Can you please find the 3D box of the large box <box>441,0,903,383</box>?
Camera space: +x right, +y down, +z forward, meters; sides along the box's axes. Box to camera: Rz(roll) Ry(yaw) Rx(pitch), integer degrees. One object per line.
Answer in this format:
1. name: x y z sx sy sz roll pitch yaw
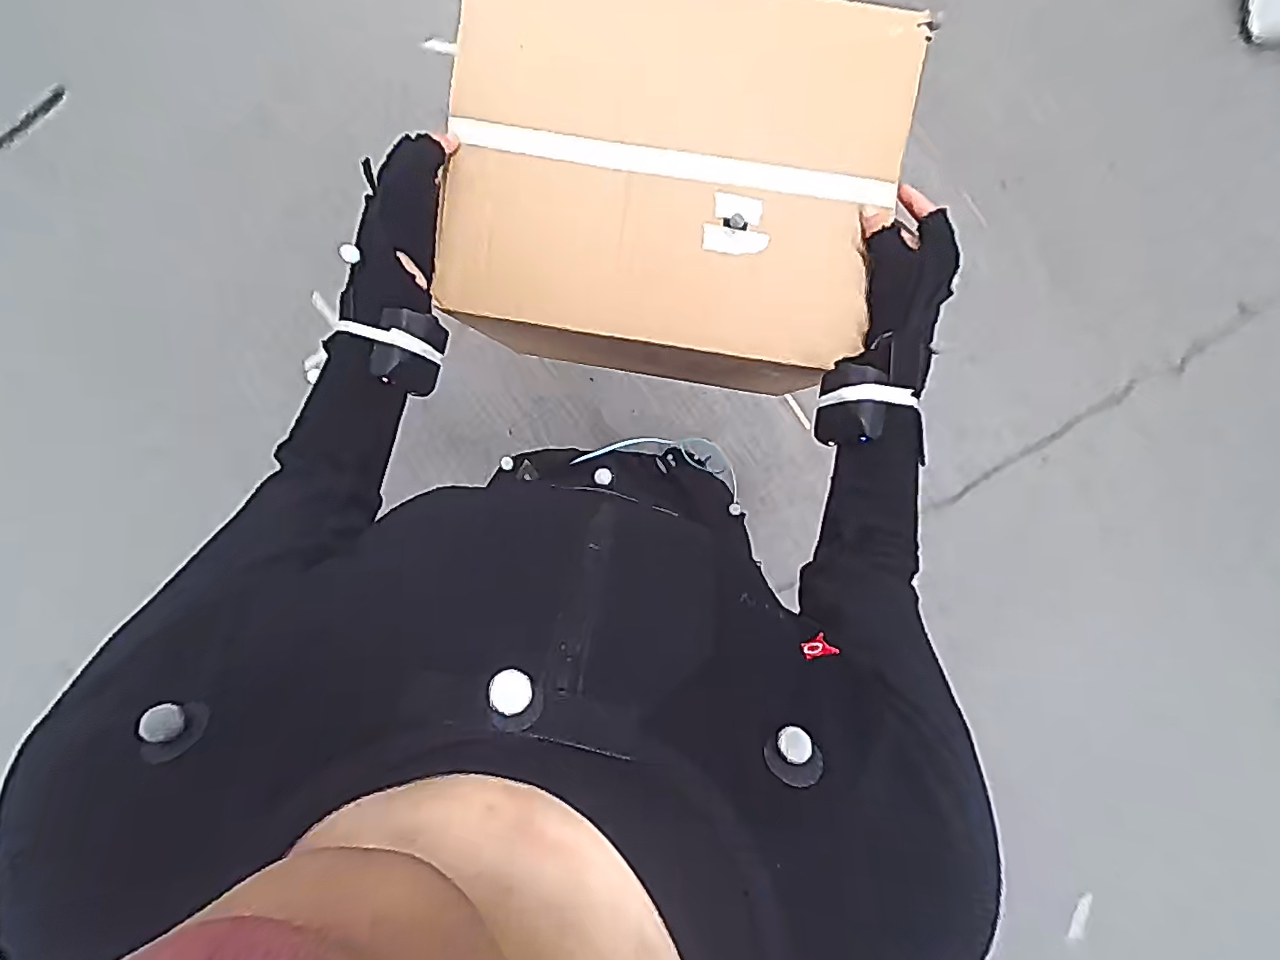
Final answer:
1. large box: 0.024 -0.303 0.648 0.408 0.320 0.320 8 97 0
